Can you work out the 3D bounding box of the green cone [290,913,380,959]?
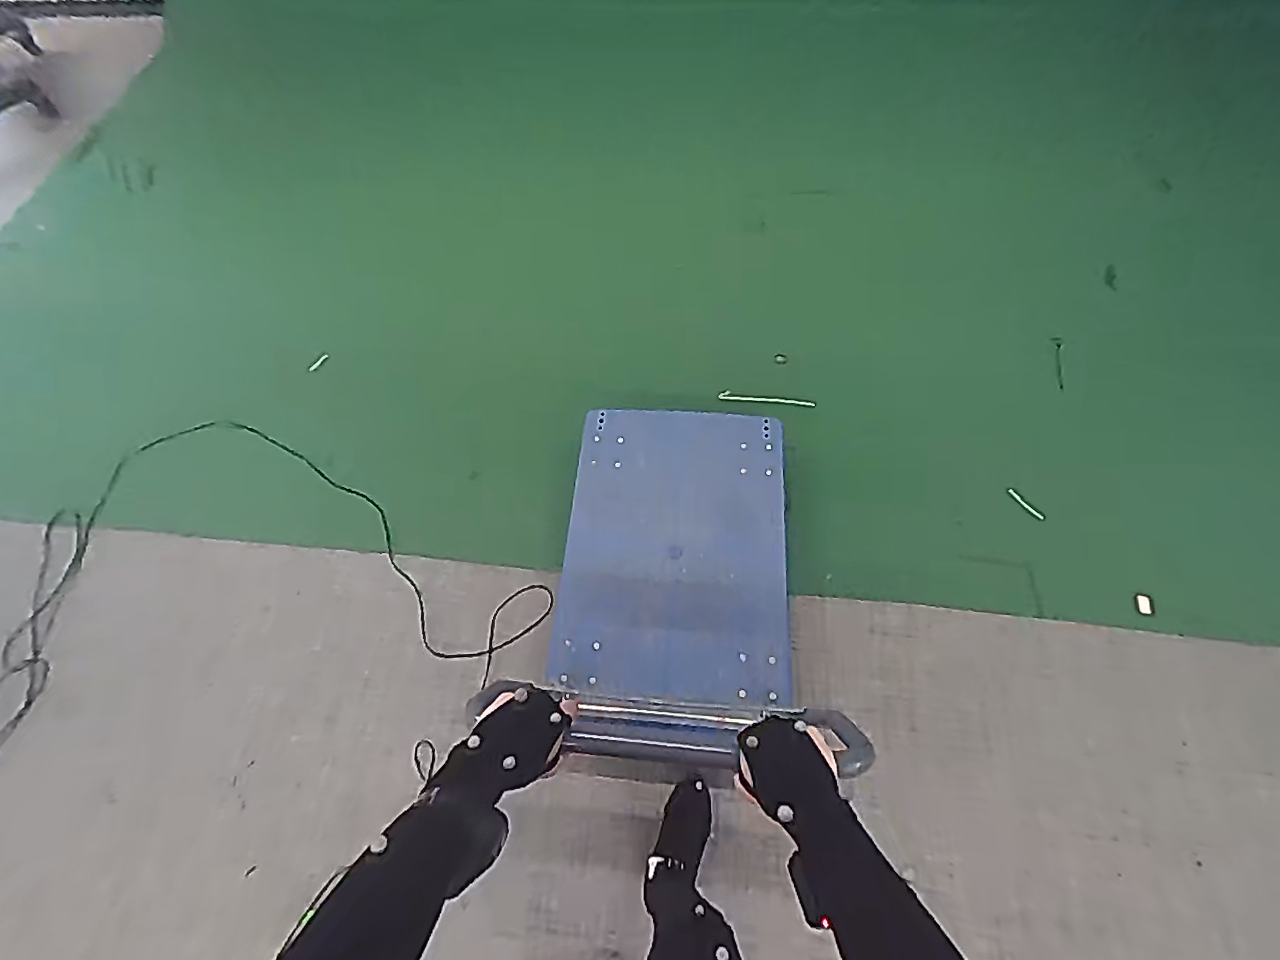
[{"bbox_3d":[-0.702,1.016,1.045,0.202,0.368,0.200,0,64,5],"label":"green cone"}]
